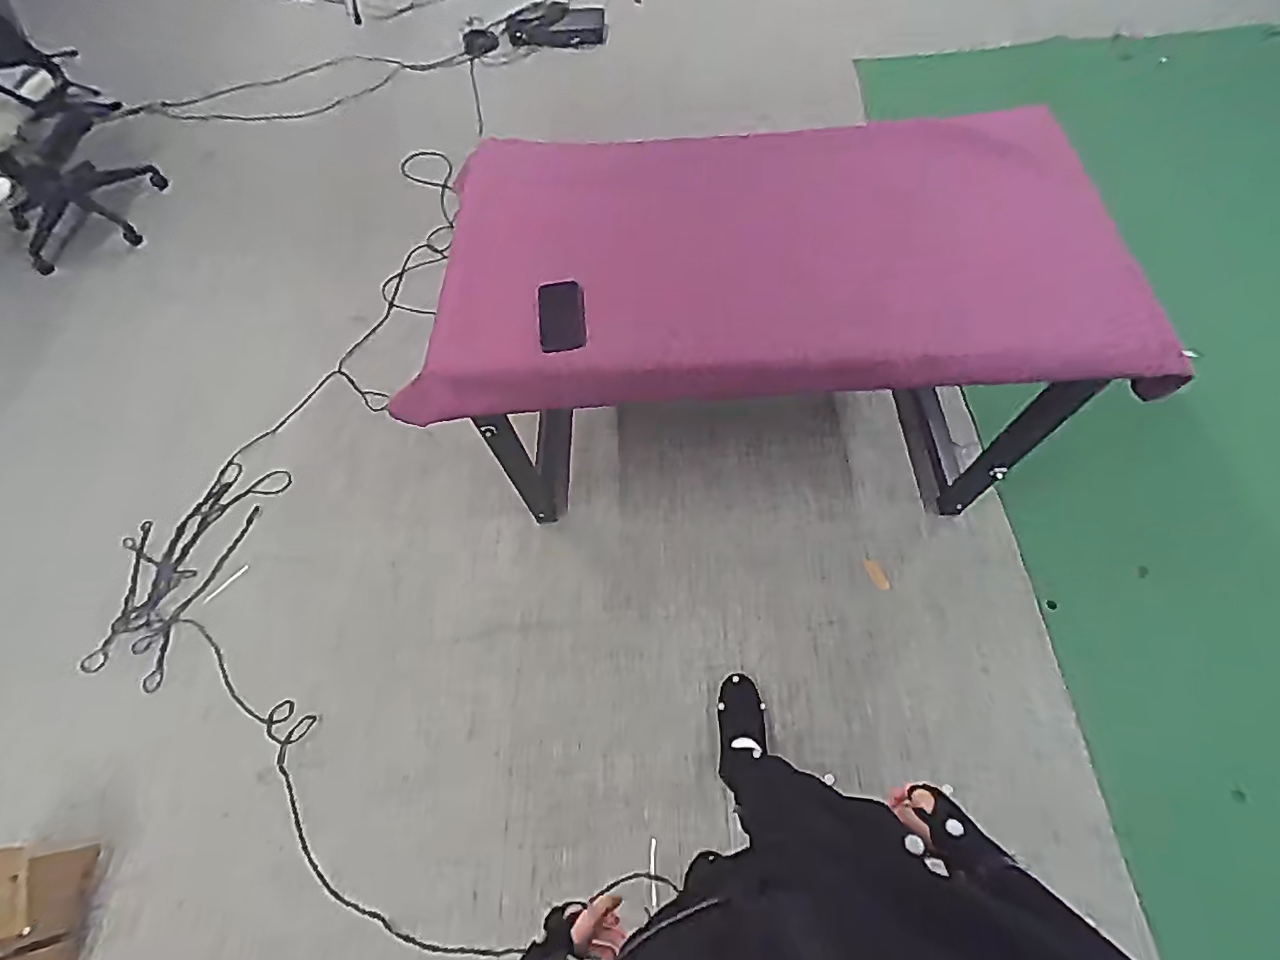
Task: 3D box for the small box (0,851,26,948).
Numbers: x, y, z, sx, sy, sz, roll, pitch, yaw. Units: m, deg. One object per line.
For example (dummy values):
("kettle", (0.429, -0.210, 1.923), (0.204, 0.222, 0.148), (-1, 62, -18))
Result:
("small box", (-1.339, 0.841, 1.024), (0.179, 0.176, 0.168), (-26, 64, -7))
